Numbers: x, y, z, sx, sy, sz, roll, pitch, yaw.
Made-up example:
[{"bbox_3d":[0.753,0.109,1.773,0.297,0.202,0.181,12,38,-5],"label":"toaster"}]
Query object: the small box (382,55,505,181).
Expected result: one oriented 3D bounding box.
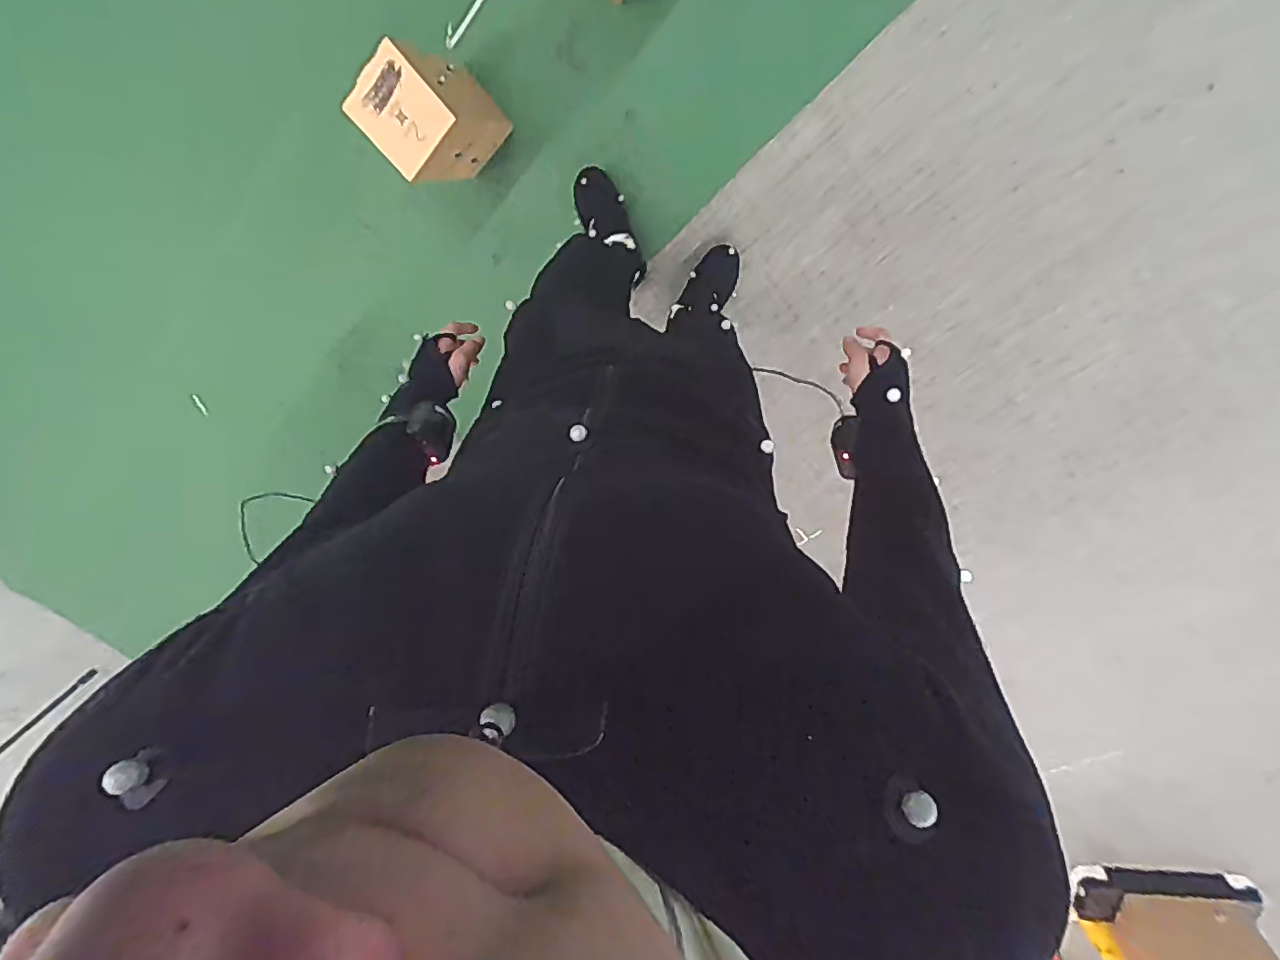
[{"bbox_3d":[-0.443,-0.828,1.251,0.168,0.176,0.179,-36,108,25],"label":"small box"}]
